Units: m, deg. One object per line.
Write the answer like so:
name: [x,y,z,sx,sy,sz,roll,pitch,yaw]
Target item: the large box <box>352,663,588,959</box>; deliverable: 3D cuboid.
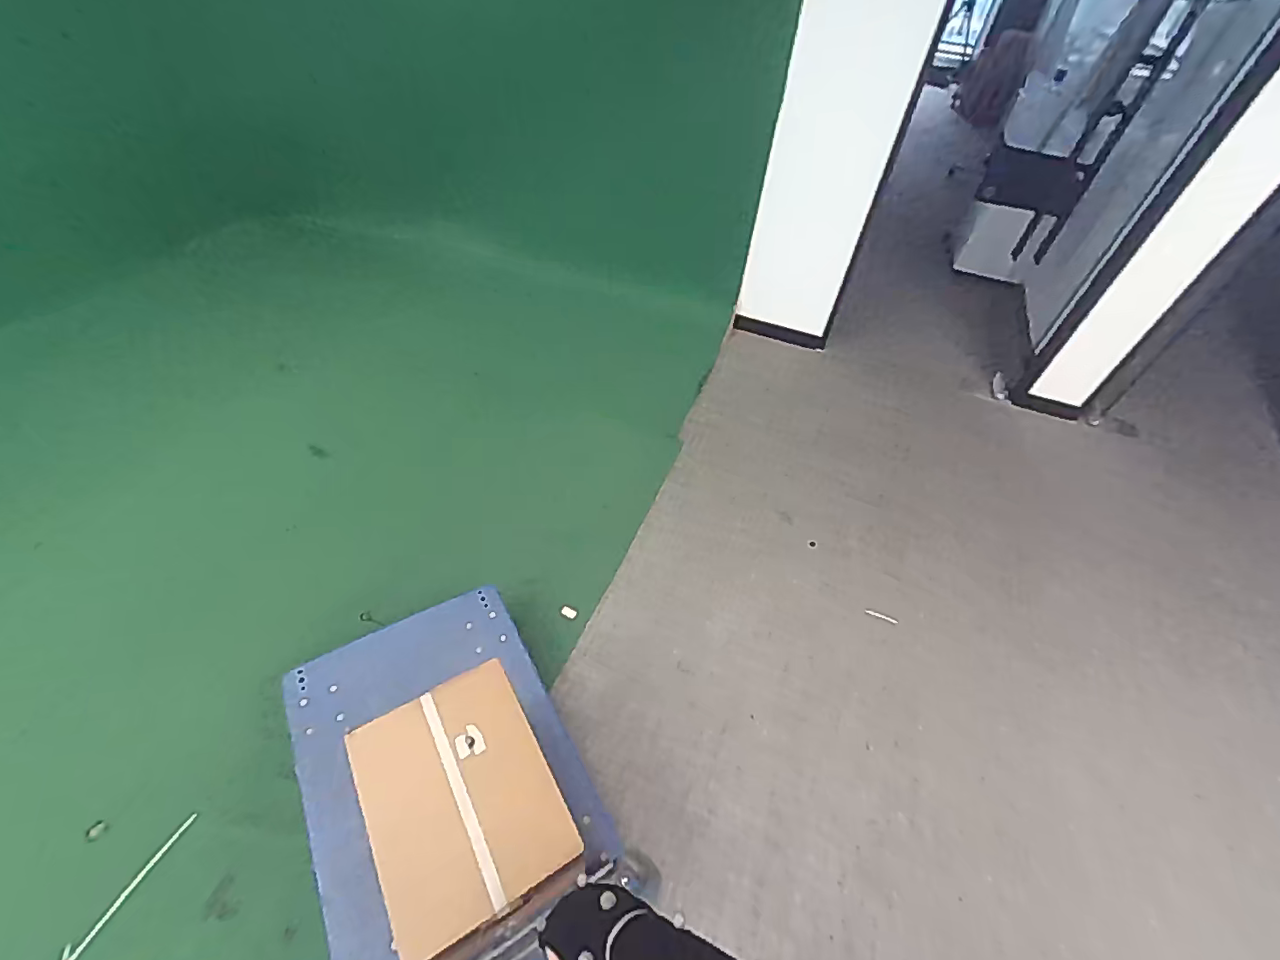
large box: [-0.335,0.676,1.114,0.320,0.320,0.408,-22,53,-23]
